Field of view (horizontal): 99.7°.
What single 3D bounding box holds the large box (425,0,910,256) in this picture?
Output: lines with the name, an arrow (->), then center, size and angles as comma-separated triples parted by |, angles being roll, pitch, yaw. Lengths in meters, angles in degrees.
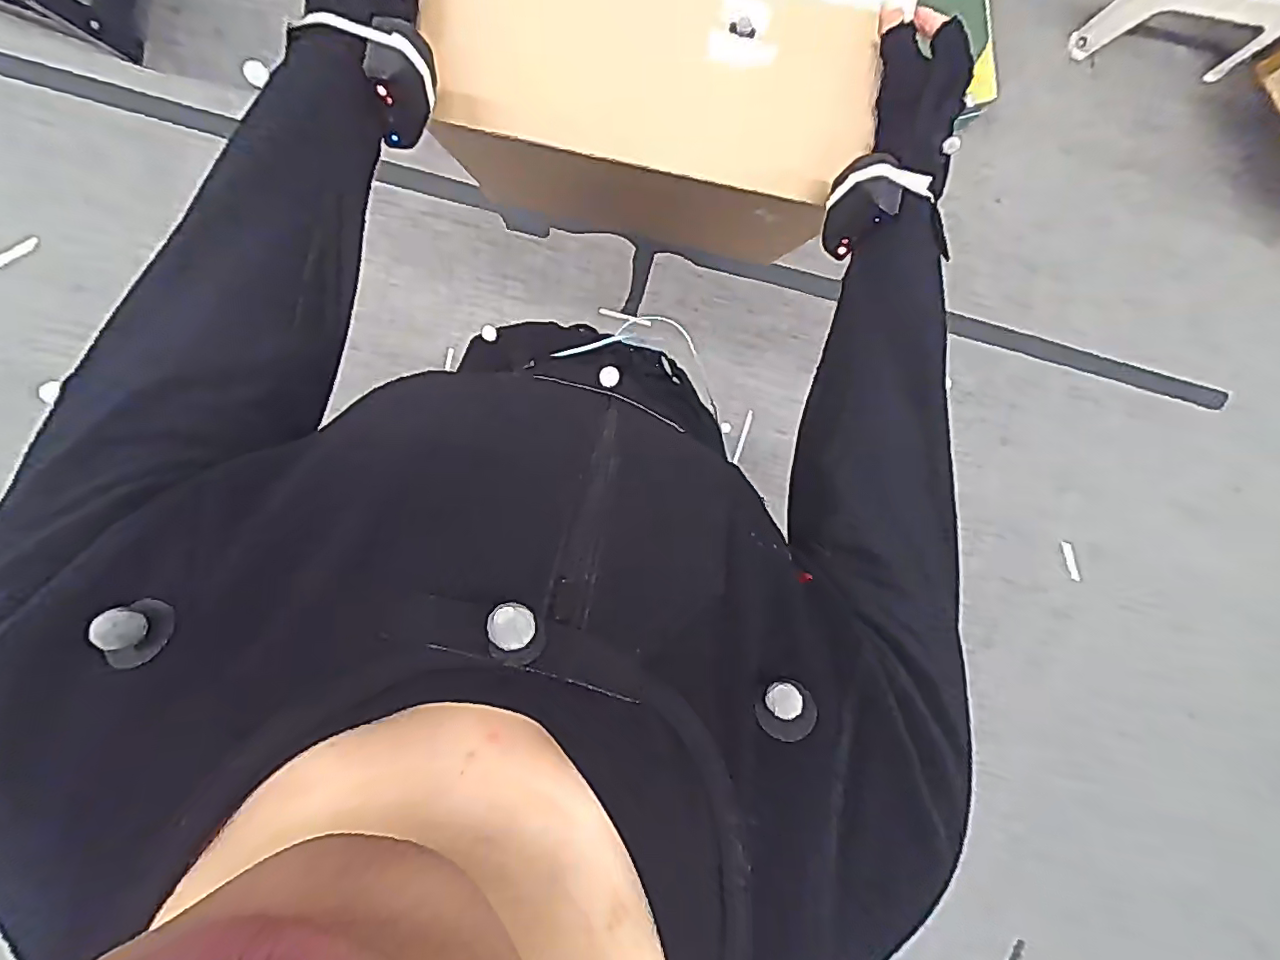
large box -> 0.028, -0.466, 0.592 | 0.408, 0.320, 0.320 | 11, 105, -4
